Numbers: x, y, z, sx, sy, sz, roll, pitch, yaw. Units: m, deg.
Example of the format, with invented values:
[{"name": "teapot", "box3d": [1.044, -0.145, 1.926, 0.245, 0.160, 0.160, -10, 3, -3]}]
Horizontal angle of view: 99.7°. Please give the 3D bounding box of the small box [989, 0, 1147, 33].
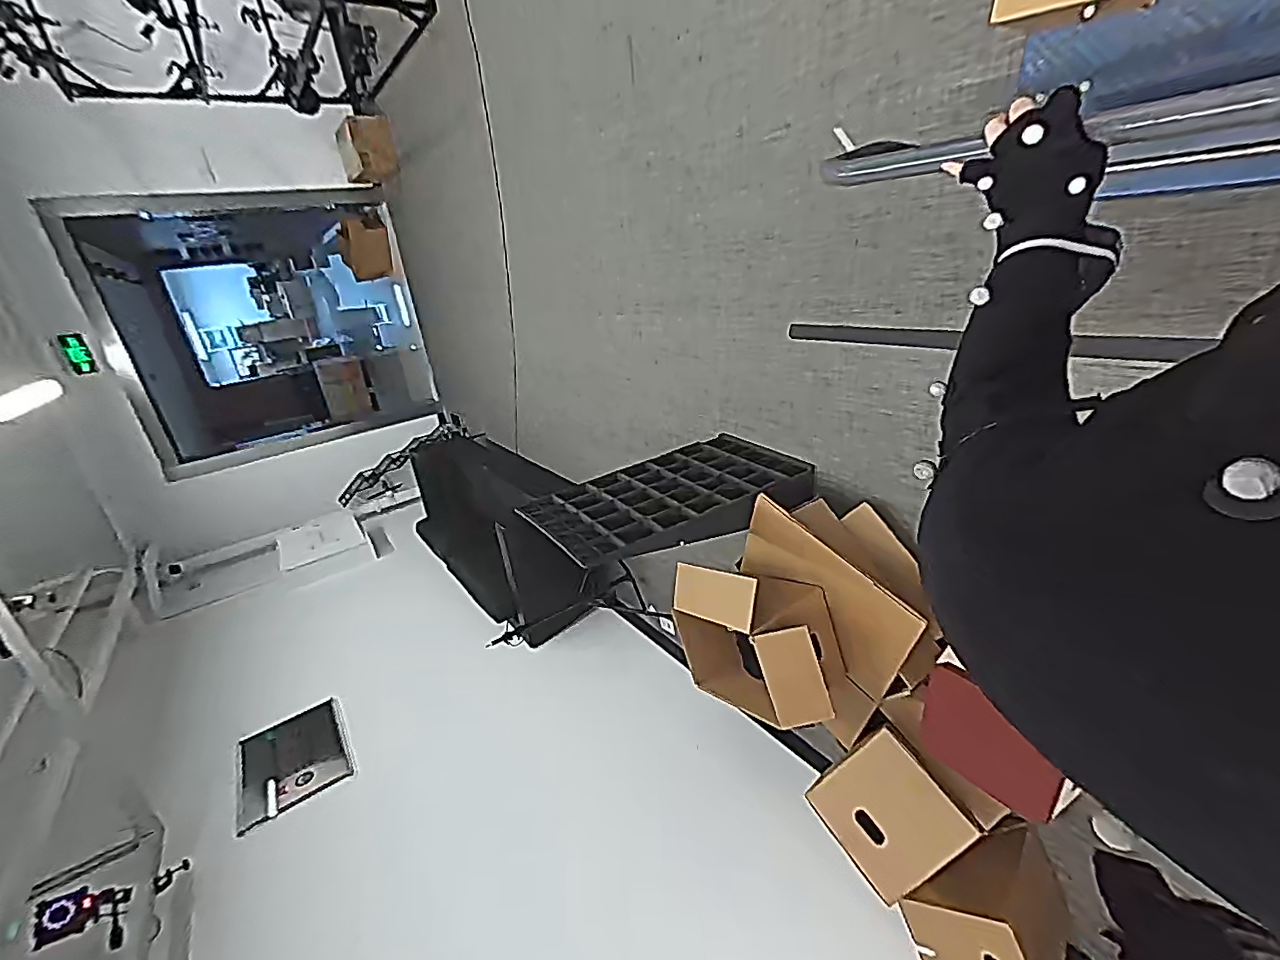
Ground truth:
[{"name": "small box", "box3d": [0.700, -0.834, 0.853, 0.179, 0.176, 0.168, 29, 131, 45]}]
